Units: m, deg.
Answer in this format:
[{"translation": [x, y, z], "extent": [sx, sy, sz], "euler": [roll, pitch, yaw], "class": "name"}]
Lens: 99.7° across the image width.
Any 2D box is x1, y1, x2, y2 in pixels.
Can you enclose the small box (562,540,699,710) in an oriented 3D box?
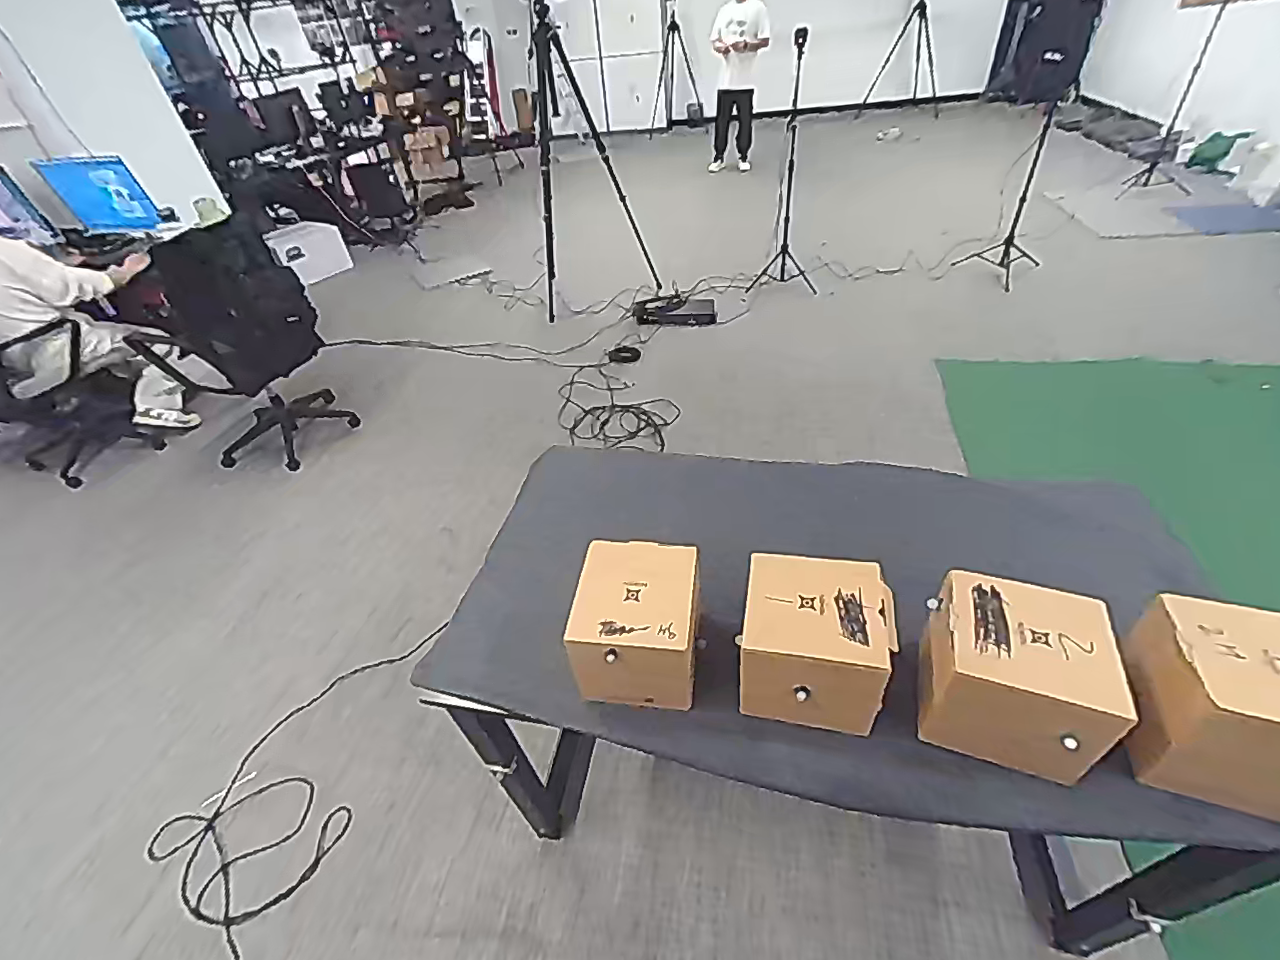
[{"translation": [-0.001, 0.213, 0.807], "extent": [0.168, 0.176, 0.179], "euler": [1, 42, 12], "class": "small box"}]
